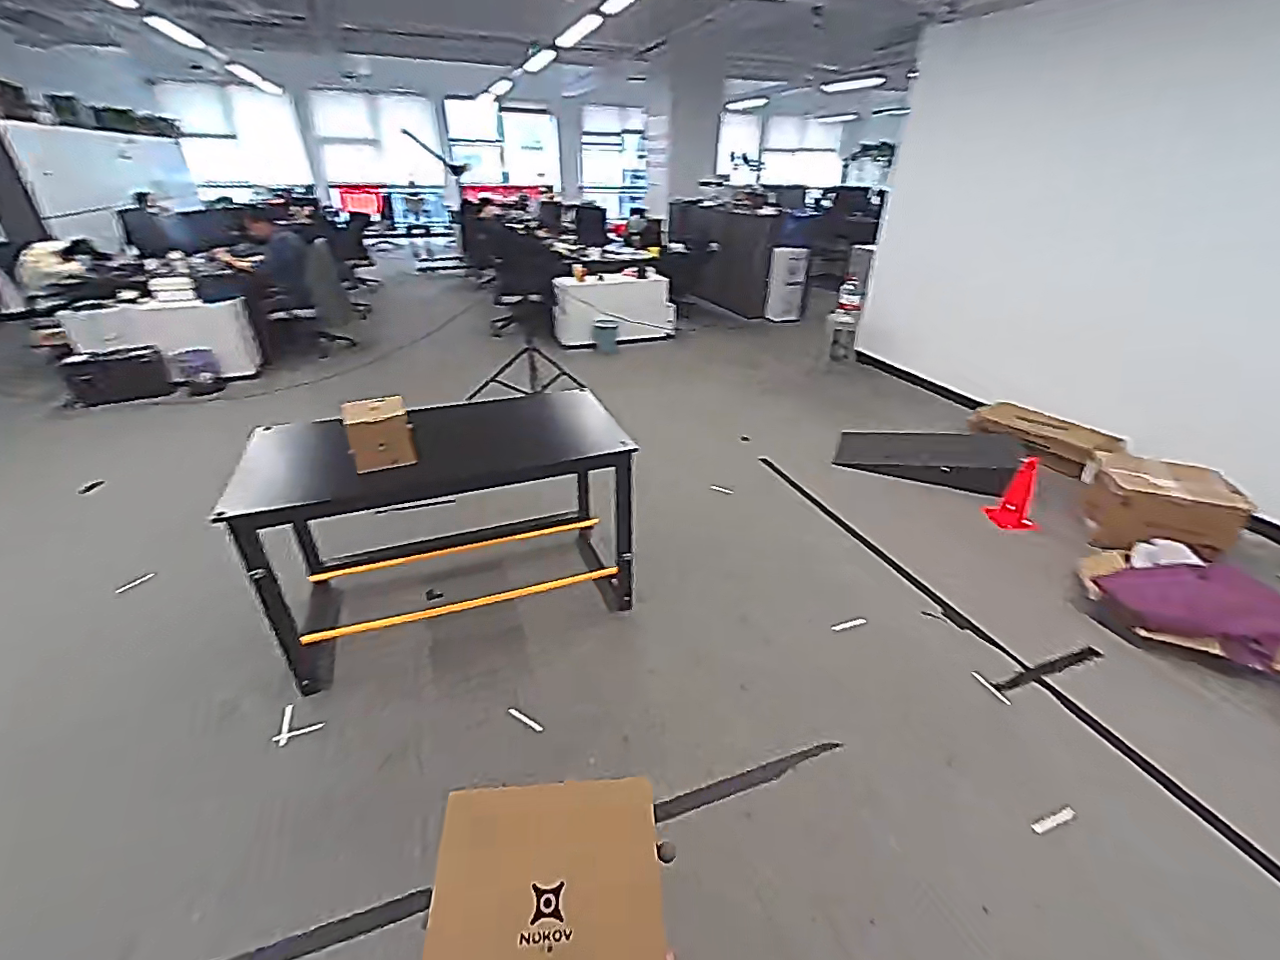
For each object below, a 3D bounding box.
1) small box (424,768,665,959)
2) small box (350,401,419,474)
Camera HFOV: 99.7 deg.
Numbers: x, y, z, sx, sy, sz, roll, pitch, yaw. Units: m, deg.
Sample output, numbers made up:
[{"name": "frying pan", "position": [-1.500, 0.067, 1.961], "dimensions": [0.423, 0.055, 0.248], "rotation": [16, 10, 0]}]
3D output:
[{"name": "small box", "position": [-0.067, 0.364, 0.441], "dimensions": [0.168, 0.176, 0.179], "rotation": [-4, 42, -4]}, {"name": "small box", "position": [-0.807, -0.129, 1.710], "dimensions": [0.168, 0.176, 0.179], "rotation": [-13, 33, -22]}]
